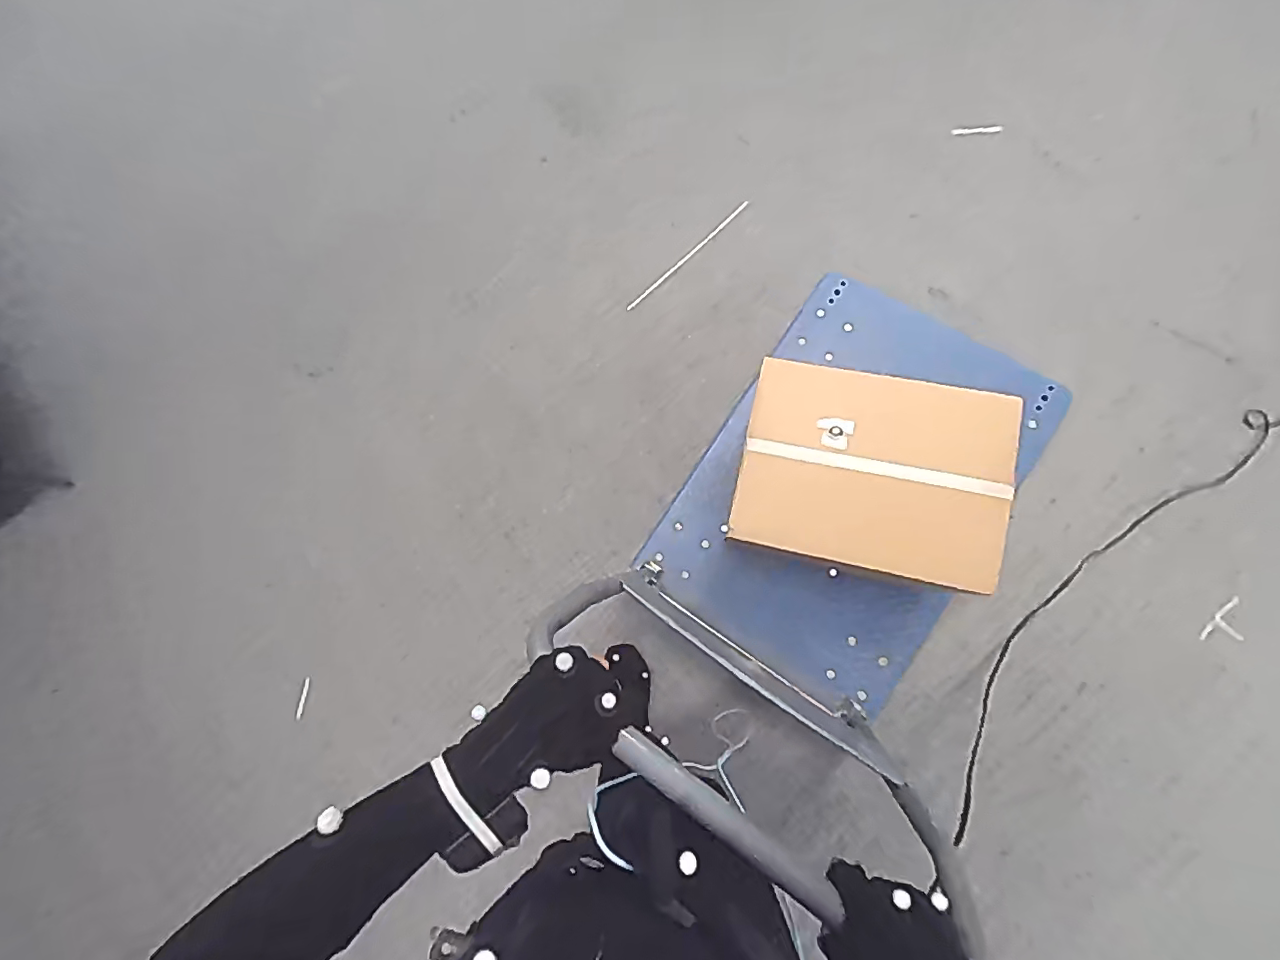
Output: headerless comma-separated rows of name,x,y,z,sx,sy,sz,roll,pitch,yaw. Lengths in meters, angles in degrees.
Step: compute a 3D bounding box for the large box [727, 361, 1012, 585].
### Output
large box,0.392,0.001,1.015,0.408,0.320,0.320,11,82,12
